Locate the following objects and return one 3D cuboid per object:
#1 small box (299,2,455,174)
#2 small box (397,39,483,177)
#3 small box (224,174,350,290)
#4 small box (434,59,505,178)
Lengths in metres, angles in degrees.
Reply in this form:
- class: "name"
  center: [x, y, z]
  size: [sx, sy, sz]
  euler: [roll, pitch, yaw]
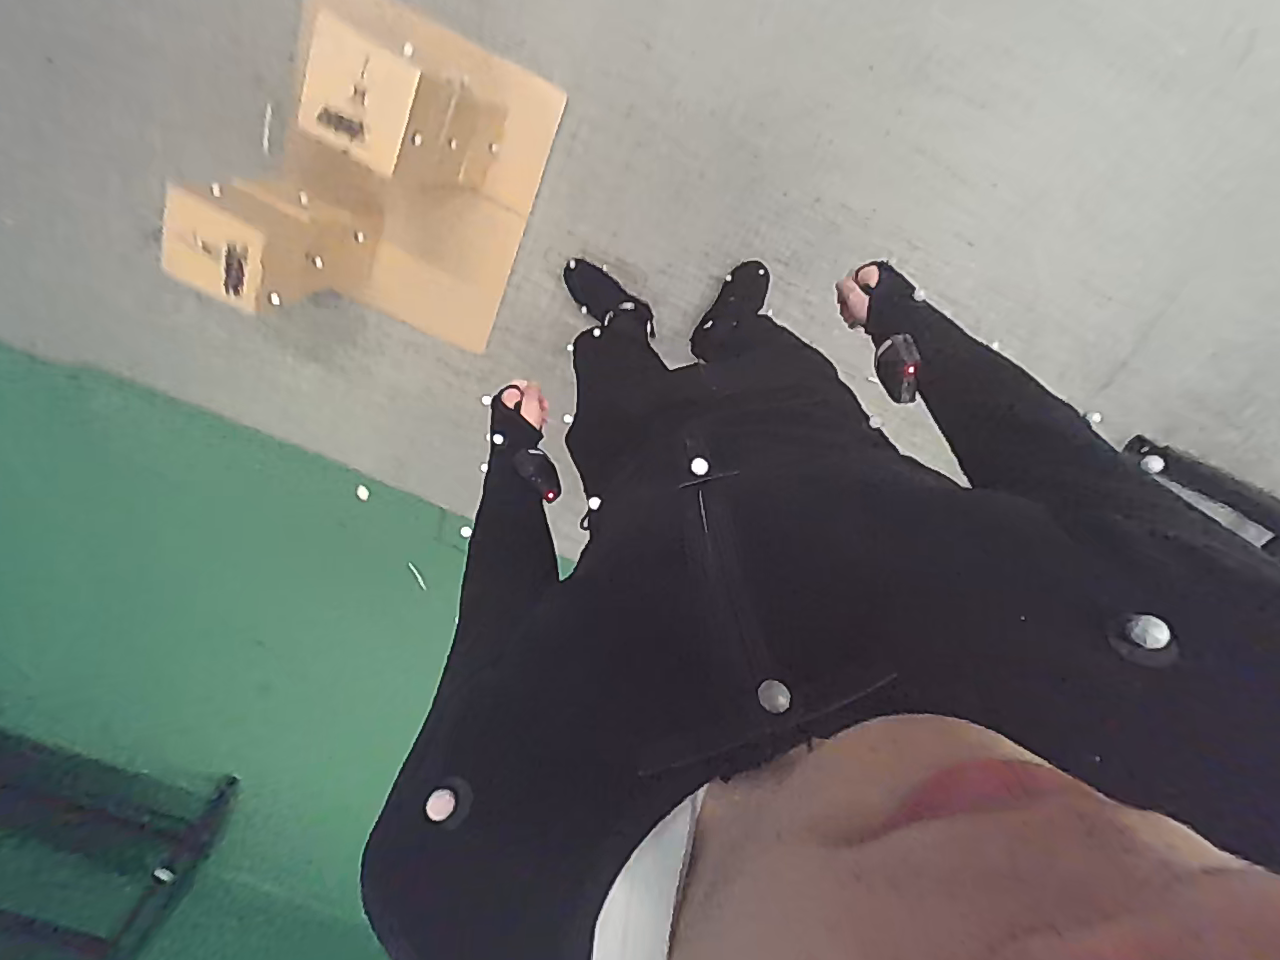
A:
- class: "small box"
  center: [-0.445, -0.660, 0.937]
  size: [0.168, 0.176, 0.179]
  euler: [27, 117, -12]
- class: "small box"
  center: [-0.436, -0.736, 1.082]
  size: [0.168, 0.176, 0.179]
  euler: [29, 117, -12]
- class: "small box"
  center: [-0.778, -0.555, 1.204]
  size: [0.168, 0.176, 0.179]
  euler: [25, 118, -10]
- class: "small box"
  center: [-0.422, -0.815, 1.225]
  size: [0.168, 0.176, 0.179]
  euler: [27, 117, -10]
